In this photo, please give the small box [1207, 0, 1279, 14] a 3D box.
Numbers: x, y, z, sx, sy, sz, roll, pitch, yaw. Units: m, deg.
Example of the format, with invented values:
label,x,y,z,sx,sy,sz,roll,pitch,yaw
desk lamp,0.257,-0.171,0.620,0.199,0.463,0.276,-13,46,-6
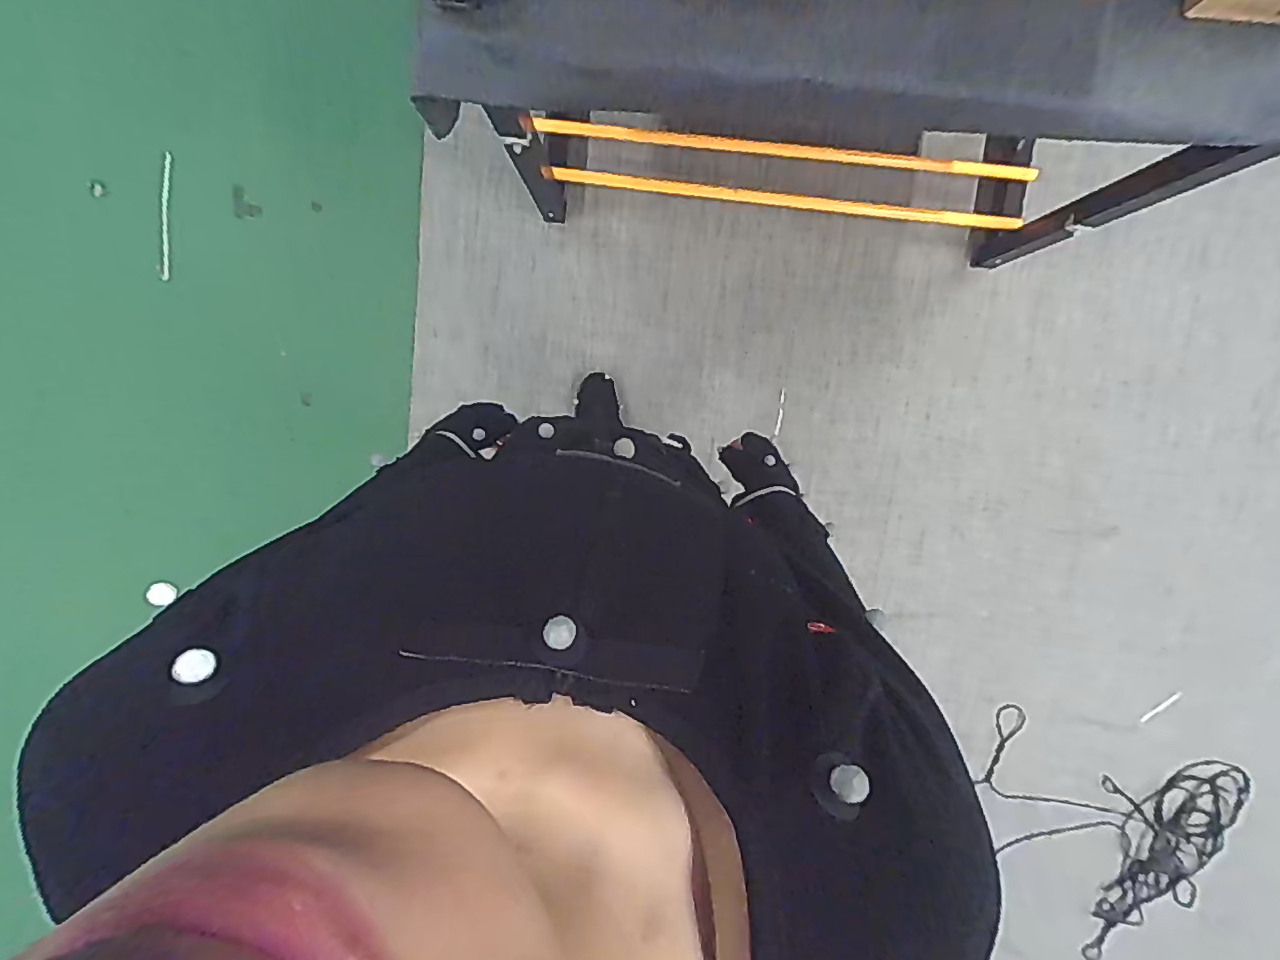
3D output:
label,x,y,z,sx,sy,sz,roll,pitch,yaw
small box,0.755,-0.642,0.573,0.168,0.176,0.179,4,97,-1
